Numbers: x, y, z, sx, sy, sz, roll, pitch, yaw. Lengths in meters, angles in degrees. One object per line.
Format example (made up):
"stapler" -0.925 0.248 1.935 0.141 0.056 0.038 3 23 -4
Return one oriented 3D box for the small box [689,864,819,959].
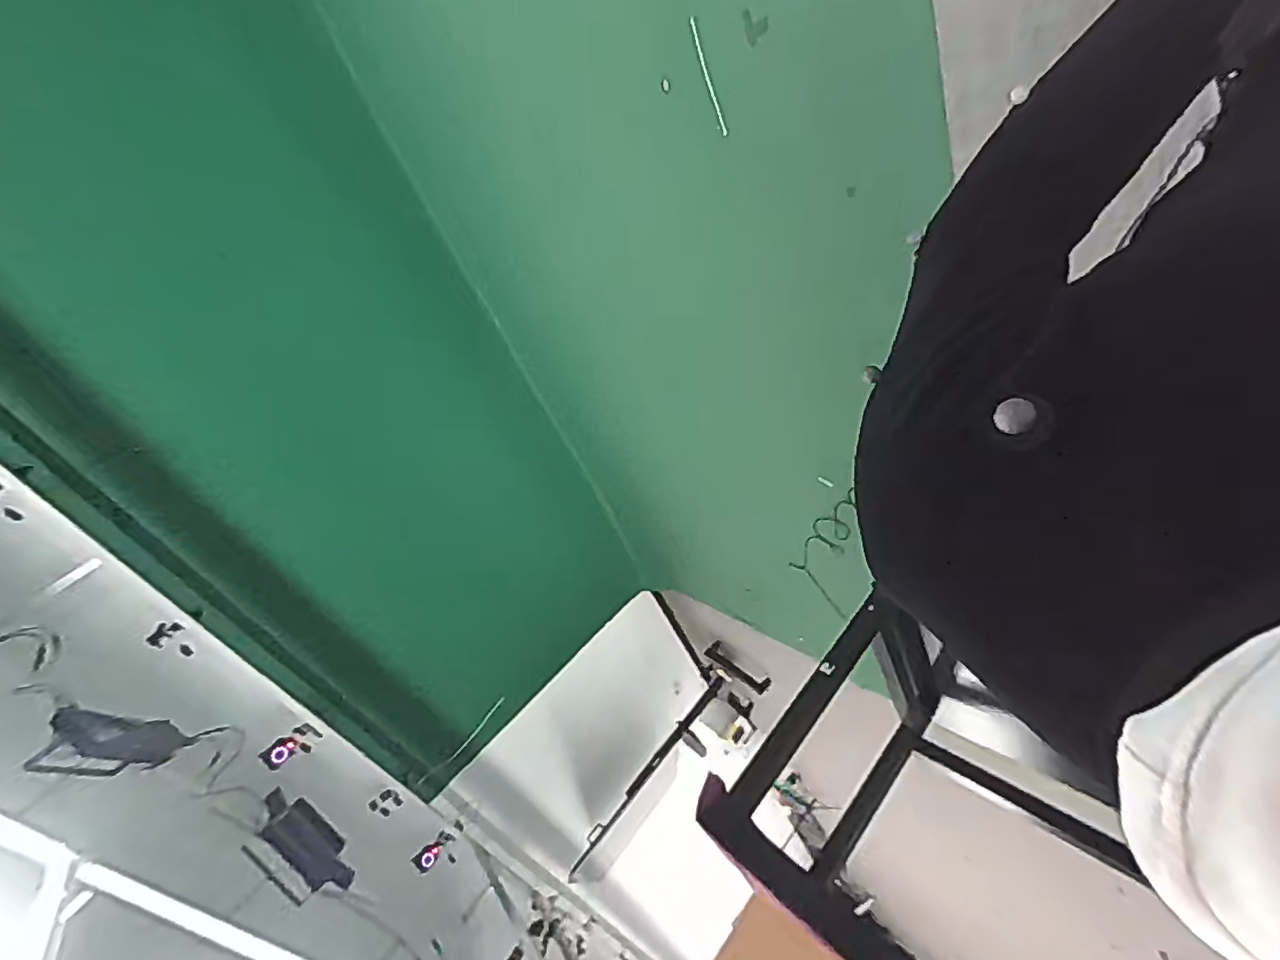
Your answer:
"small box" 0.233 0.915 1.068 0.179 0.176 0.168 18 145 47
